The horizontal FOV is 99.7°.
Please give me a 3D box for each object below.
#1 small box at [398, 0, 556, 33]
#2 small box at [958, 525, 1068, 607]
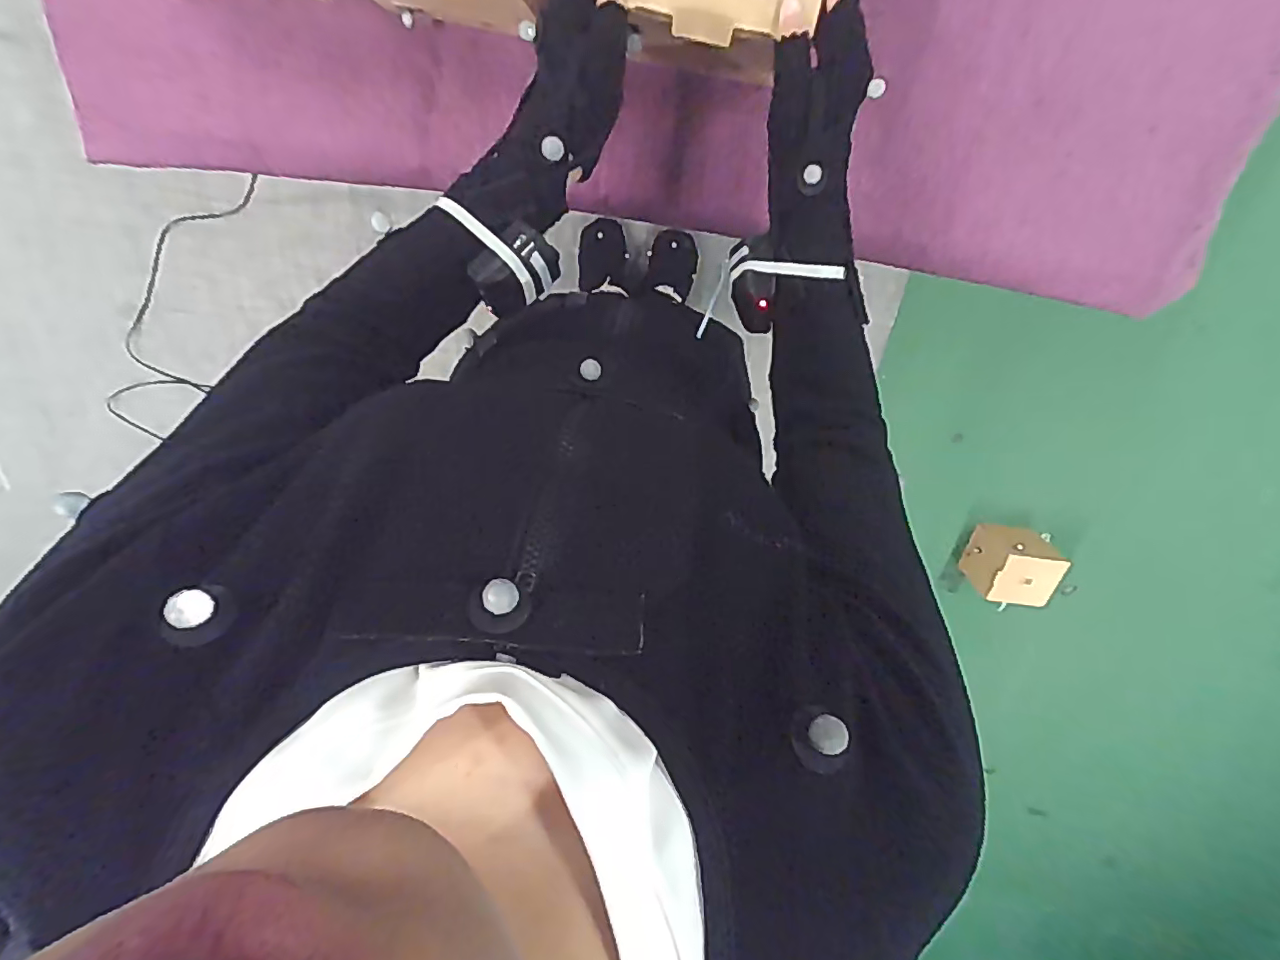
[{"bbox_3d":[-0.153,-0.486,0.420,0.168,0.176,0.179,9,118,-3],"label":"small box"},{"bbox_3d":[1.091,0.250,1.598,0.179,0.176,0.168,8,118,-2],"label":"small box"}]
